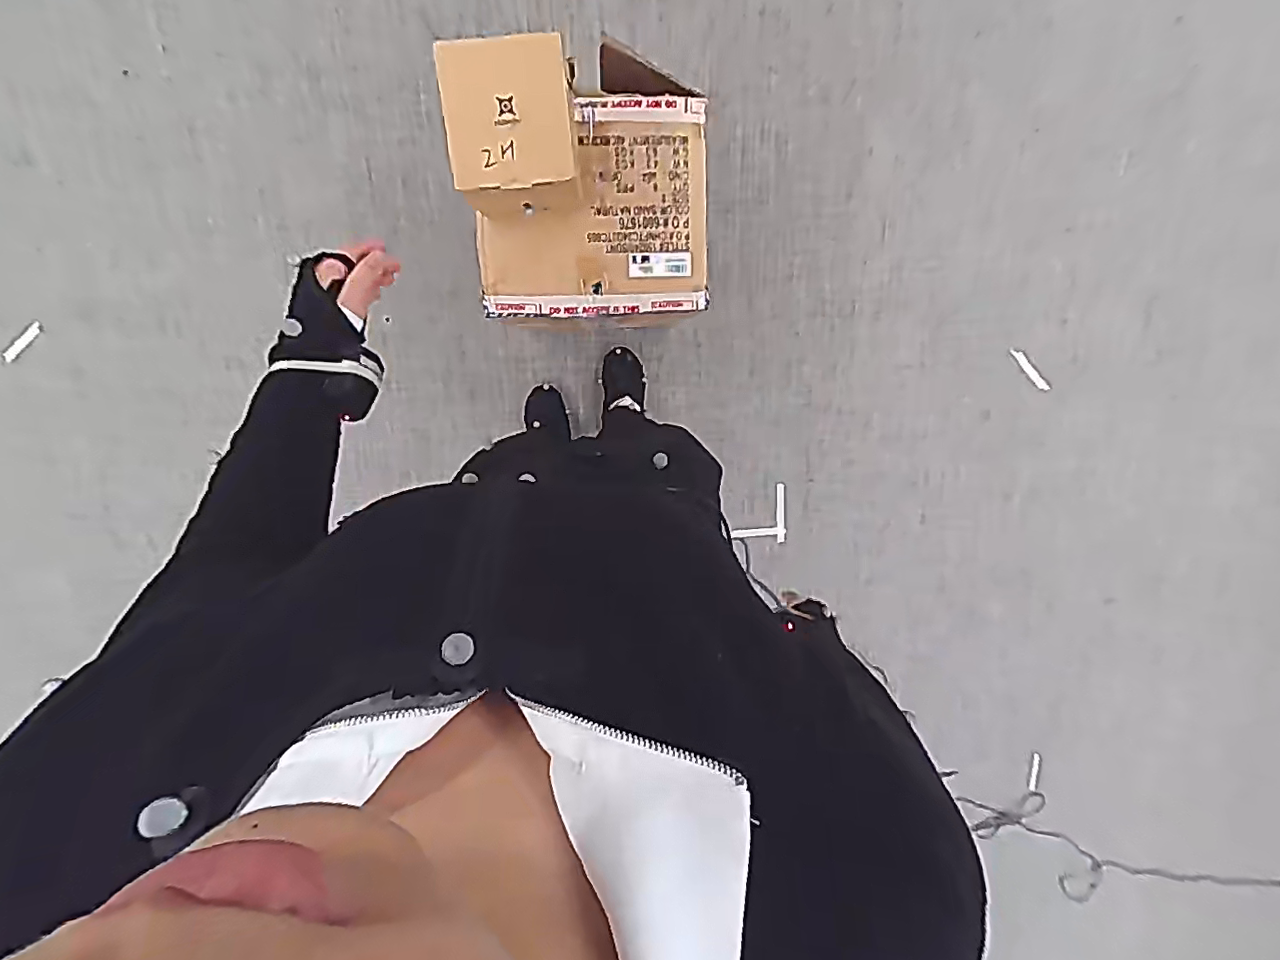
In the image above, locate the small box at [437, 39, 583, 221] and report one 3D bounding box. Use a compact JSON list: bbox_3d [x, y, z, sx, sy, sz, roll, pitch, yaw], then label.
[{"bbox_3d":[-0.177,-0.496,0.790,0.168,0.176,0.179,-5,105,0],"label":"small box"}]
